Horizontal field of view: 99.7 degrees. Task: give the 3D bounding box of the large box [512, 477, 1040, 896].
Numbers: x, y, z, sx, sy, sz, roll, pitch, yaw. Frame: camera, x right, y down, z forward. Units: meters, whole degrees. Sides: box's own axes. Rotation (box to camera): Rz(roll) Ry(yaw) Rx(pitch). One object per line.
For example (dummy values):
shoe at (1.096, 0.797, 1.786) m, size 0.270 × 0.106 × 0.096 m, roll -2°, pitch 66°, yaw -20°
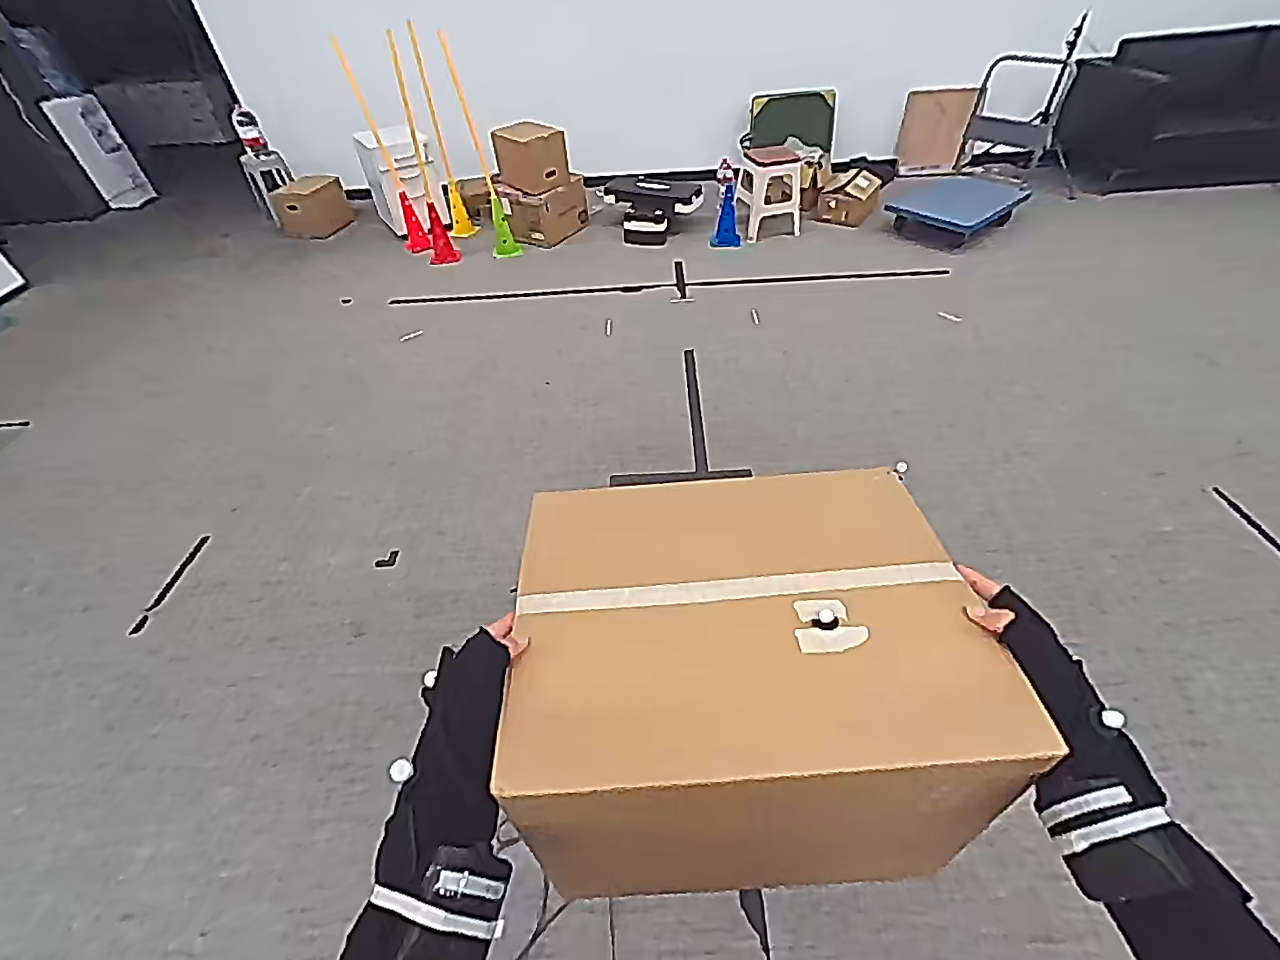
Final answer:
large box at (0.101, 0.224, 0.606) m, size 0.408 × 0.320 × 0.320 m, roll -5°, pitch 41°, yaw 0°
